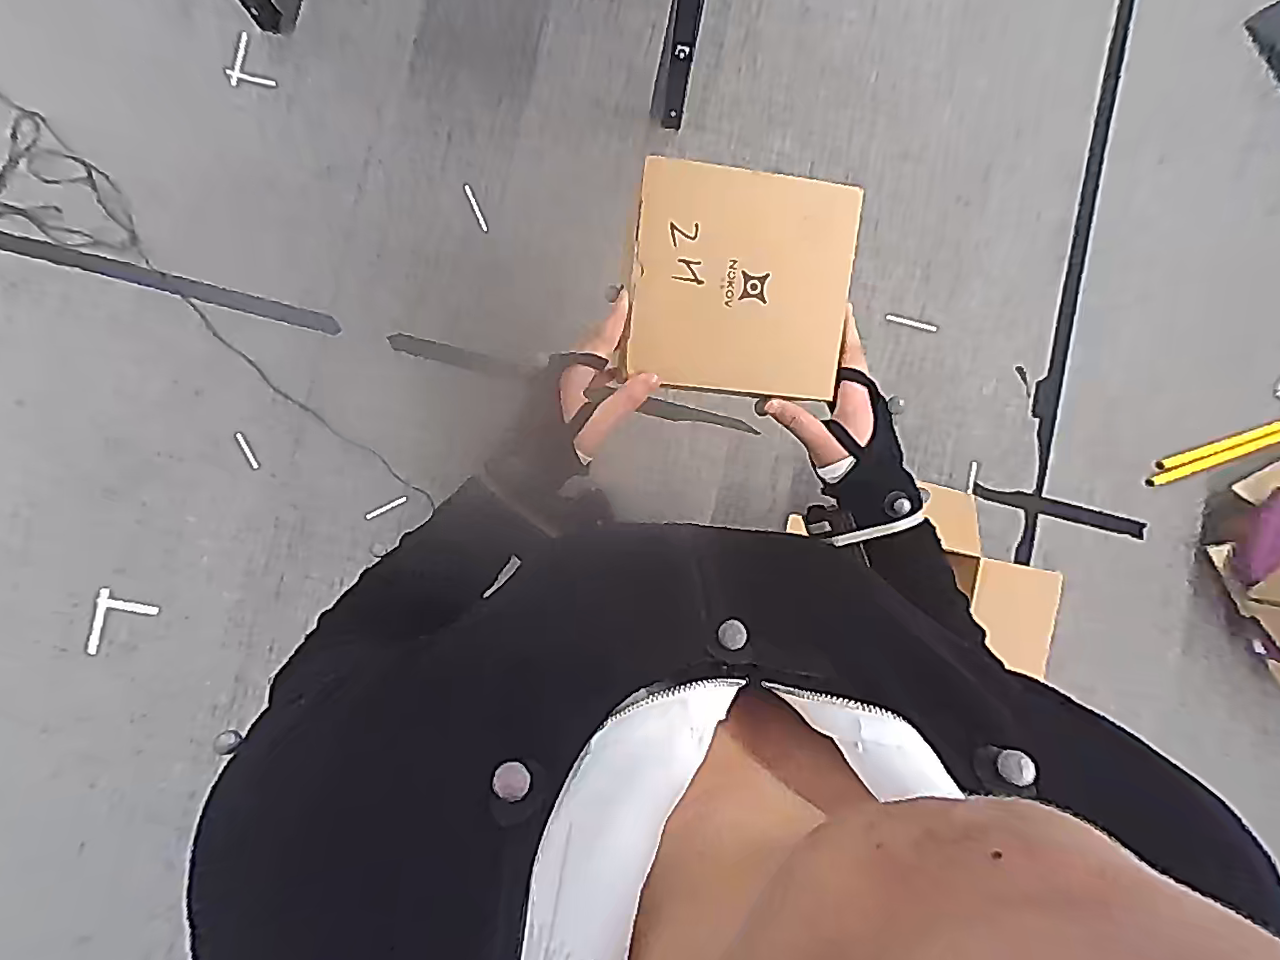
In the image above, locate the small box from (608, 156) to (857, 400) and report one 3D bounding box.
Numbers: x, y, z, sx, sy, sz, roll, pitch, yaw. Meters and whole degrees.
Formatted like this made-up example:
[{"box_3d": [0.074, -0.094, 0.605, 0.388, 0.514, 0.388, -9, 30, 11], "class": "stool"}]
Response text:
[{"box_3d": [0.068, -0.166, 0.501, 0.179, 0.176, 0.168, 5, 98, -6], "class": "small box"}]
